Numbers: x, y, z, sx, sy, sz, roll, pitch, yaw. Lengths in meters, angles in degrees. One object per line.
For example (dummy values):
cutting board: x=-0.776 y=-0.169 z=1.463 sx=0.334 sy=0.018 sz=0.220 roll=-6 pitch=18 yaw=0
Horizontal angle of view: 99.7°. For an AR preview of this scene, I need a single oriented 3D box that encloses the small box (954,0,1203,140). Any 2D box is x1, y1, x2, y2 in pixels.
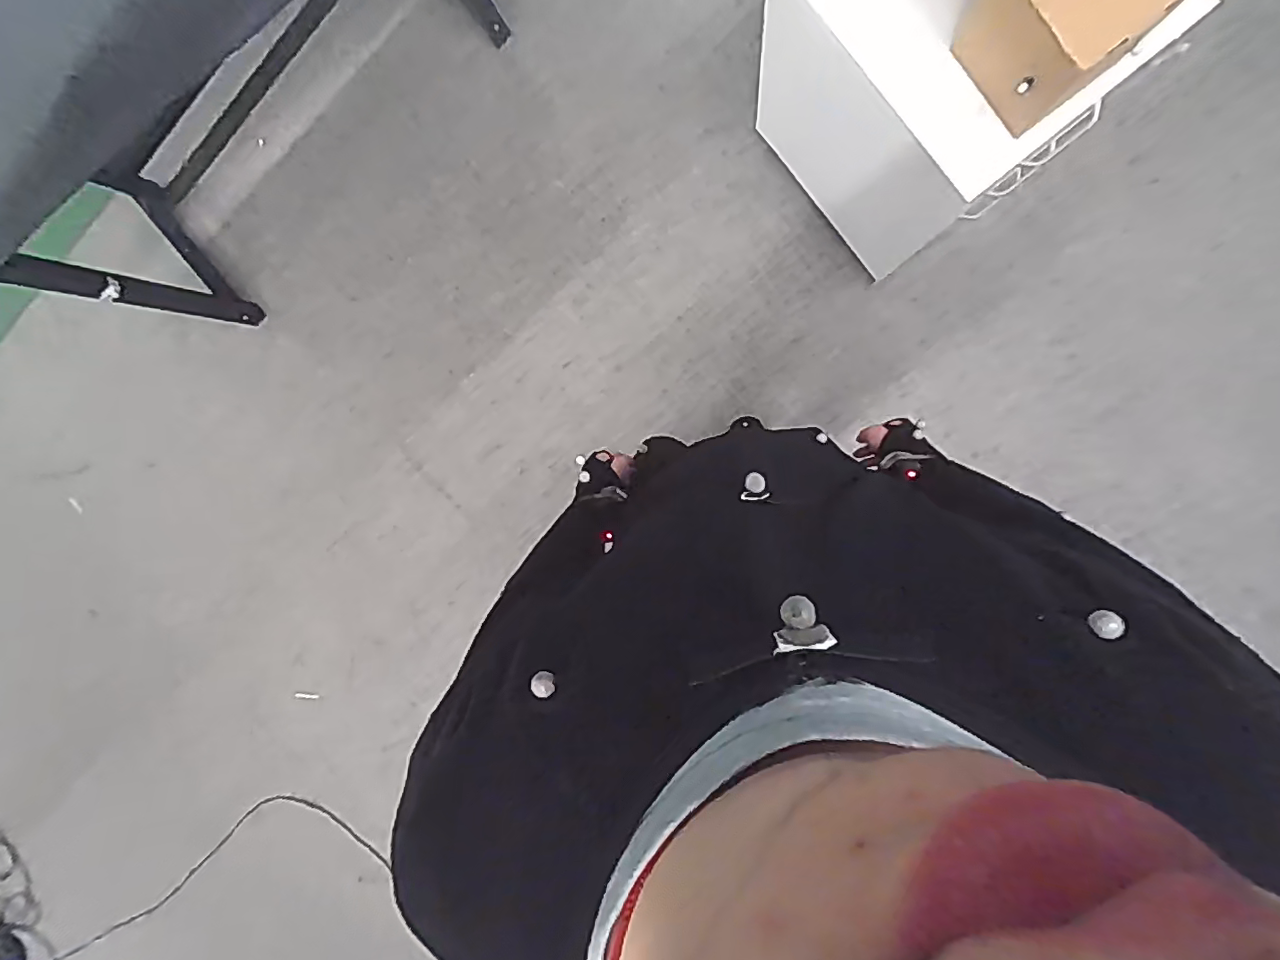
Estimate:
small box: x=0.571 y=-0.601 z=0.726 sx=0.168 sy=0.176 sz=0.179 roll=-37 pitch=87 yaw=11
